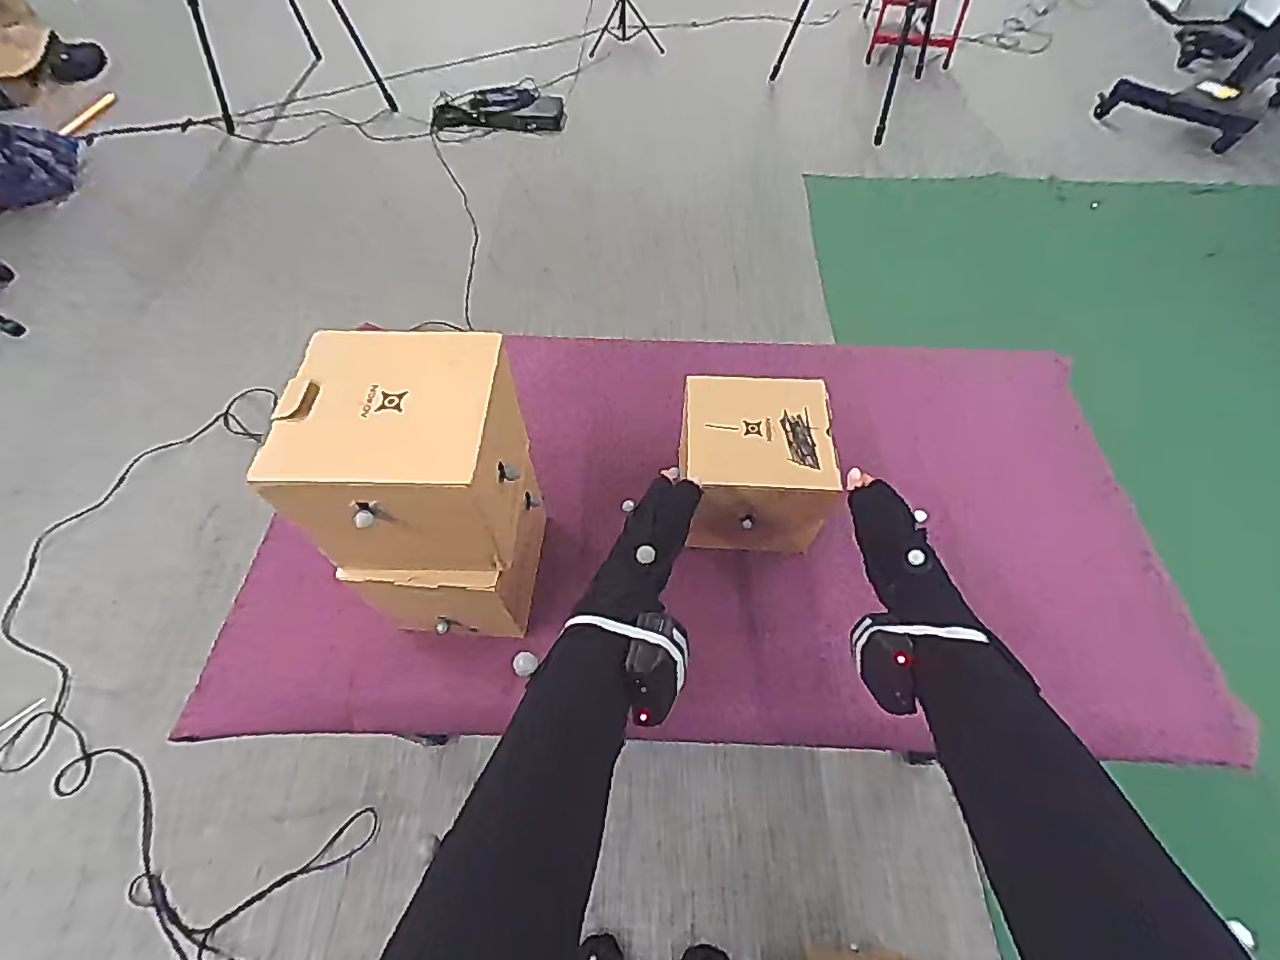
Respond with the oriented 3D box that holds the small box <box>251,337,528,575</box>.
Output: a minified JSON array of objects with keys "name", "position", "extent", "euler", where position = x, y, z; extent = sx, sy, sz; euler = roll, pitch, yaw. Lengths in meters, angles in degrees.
[{"name":"small box","position":[-0.212,-0.016,0.523],"extent":[0.179,0.176,0.168],"euler":[1,58,0]}]

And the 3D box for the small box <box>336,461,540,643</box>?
[{"name":"small box","position":[-0.222,0.081,0.654],"extent":[0.168,0.176,0.179],"euler":[5,58,2]}]

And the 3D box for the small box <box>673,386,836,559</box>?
[{"name":"small box","position":[0.139,-0.004,0.718],"extent":[0.179,0.176,0.168],"euler":[3,58,1]}]
